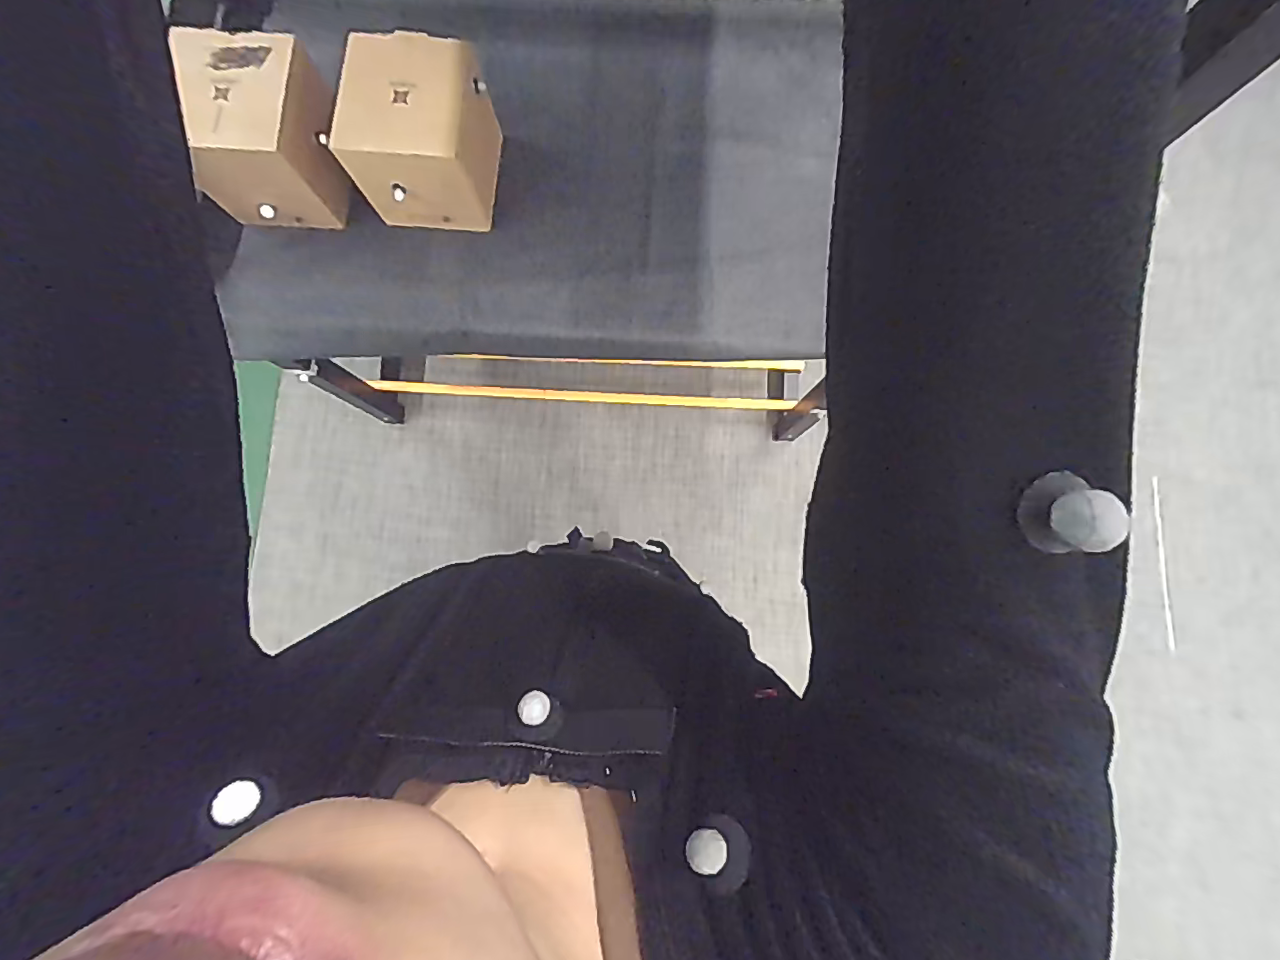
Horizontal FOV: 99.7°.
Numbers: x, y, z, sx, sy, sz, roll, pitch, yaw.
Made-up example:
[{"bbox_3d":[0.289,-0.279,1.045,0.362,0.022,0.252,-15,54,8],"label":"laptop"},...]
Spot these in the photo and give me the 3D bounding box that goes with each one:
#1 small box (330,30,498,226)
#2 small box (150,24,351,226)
[{"bbox_3d":[-0.313,-0.498,0.787,0.168,0.176,0.179,4,81,0],"label":"small box"},{"bbox_3d":[-0.541,-0.501,0.782,0.168,0.176,0.179,3,82,0],"label":"small box"}]
